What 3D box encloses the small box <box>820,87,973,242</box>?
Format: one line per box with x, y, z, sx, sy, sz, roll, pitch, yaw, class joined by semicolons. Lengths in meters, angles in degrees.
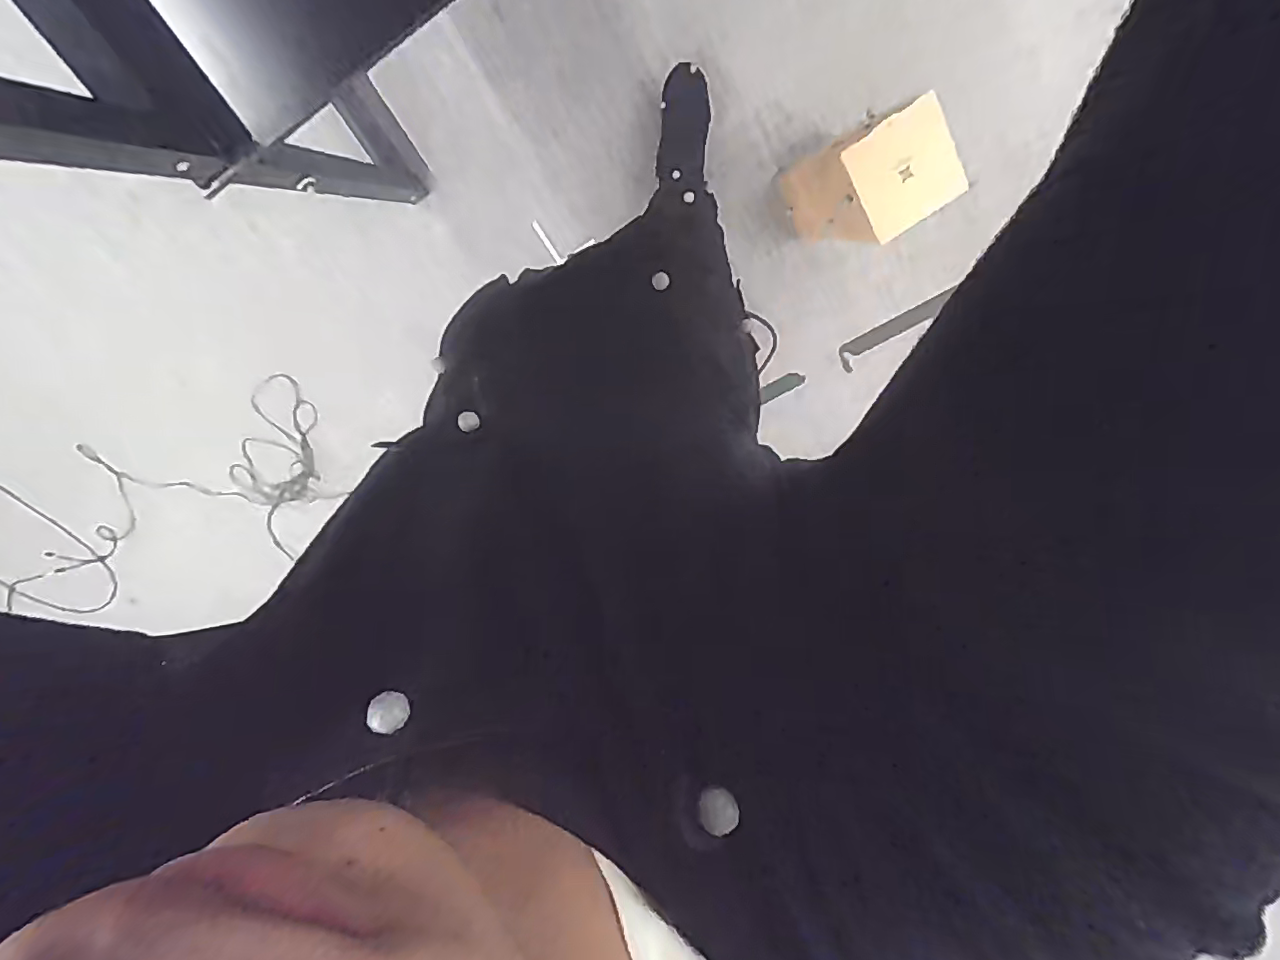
0.456;-0.562;0.984;0.168;0.176;0.179;-31;110;15;small box

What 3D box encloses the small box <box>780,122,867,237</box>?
0.457;-0.702;1.280;0.179;0.176;0.168;-30;110;15;small box
